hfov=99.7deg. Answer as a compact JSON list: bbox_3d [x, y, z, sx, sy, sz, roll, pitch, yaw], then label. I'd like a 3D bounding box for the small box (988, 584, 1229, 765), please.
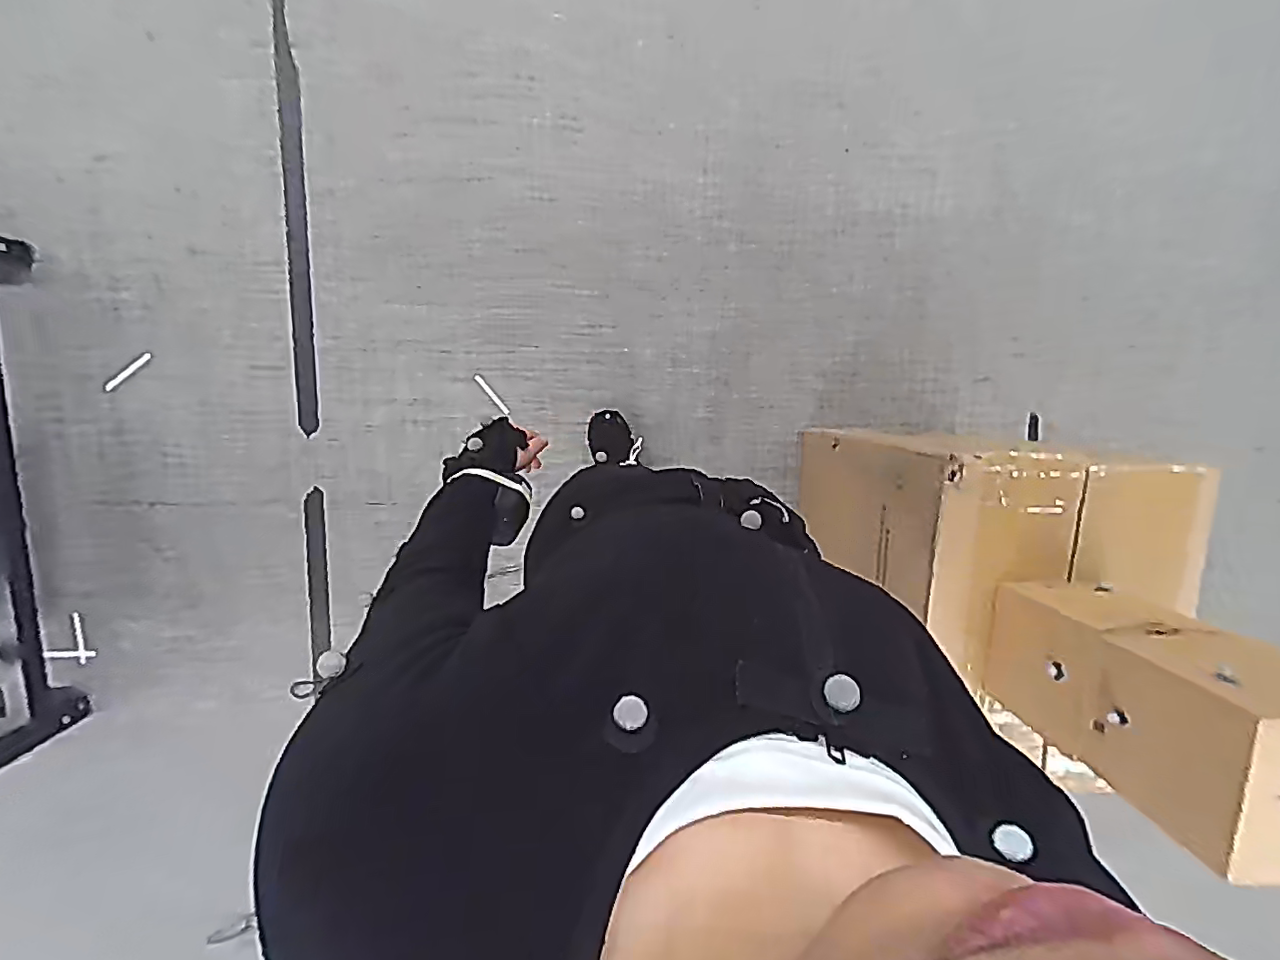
[{"bbox_3d":[0.603,0.247,0.721,0.168,0.176,0.179,2,99,-2],"label":"small box"}]
